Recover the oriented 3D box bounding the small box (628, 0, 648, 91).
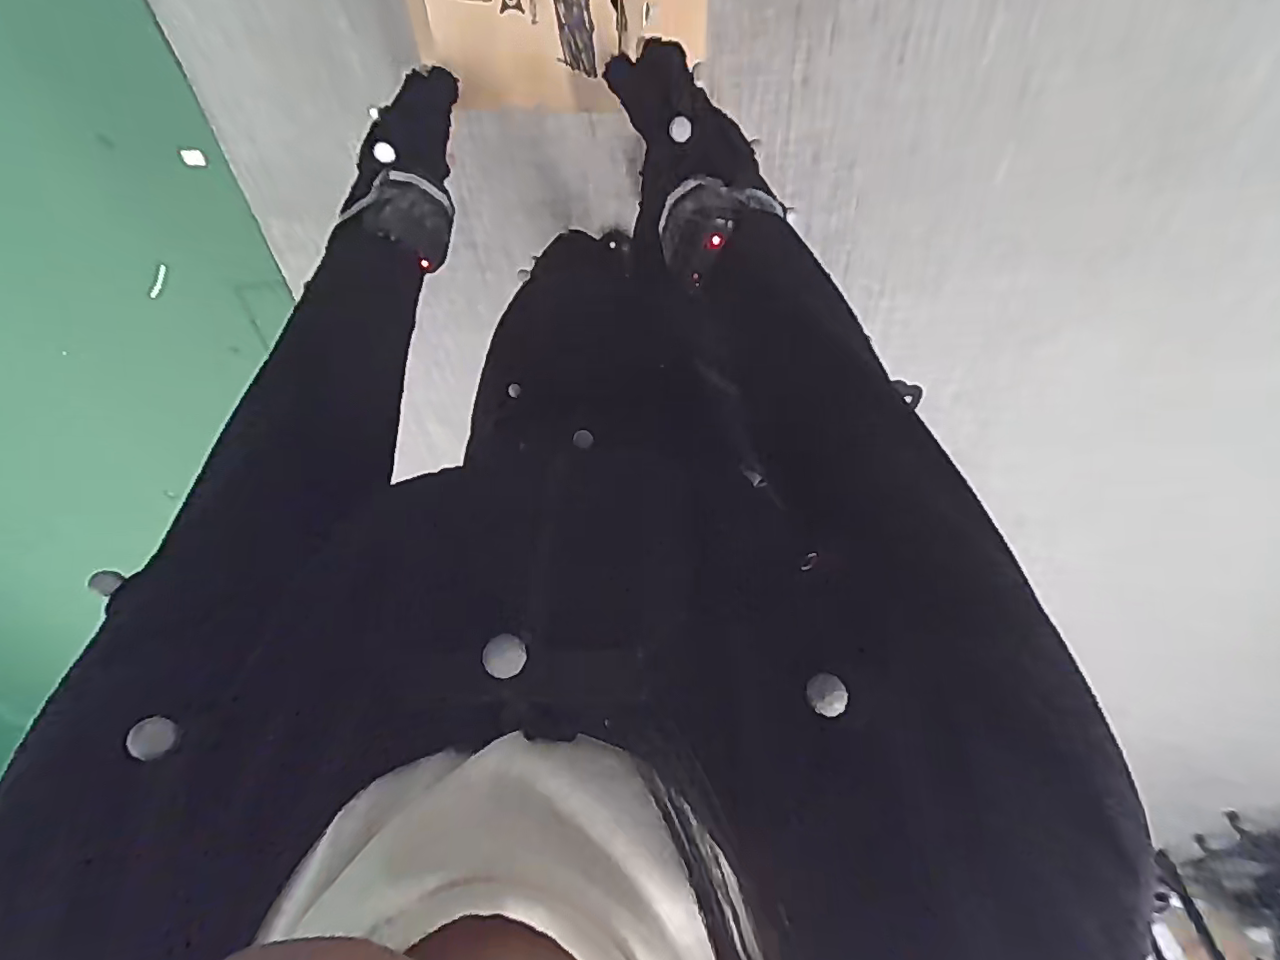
[{"bbox_3d":[-0.083,-0.583,0.647,0.179,0.176,0.168,4,135,2],"label":"small box"}]

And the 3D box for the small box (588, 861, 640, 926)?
[{"bbox_3d":[-0.096,1.594,2.087,0.168,0.176,0.179,-2,132,8],"label":"small box"}]

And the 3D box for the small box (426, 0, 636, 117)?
[{"bbox_3d":[-0.095,-0.472,0.527,0.179,0.176,0.168,5,135,4],"label":"small box"}]
